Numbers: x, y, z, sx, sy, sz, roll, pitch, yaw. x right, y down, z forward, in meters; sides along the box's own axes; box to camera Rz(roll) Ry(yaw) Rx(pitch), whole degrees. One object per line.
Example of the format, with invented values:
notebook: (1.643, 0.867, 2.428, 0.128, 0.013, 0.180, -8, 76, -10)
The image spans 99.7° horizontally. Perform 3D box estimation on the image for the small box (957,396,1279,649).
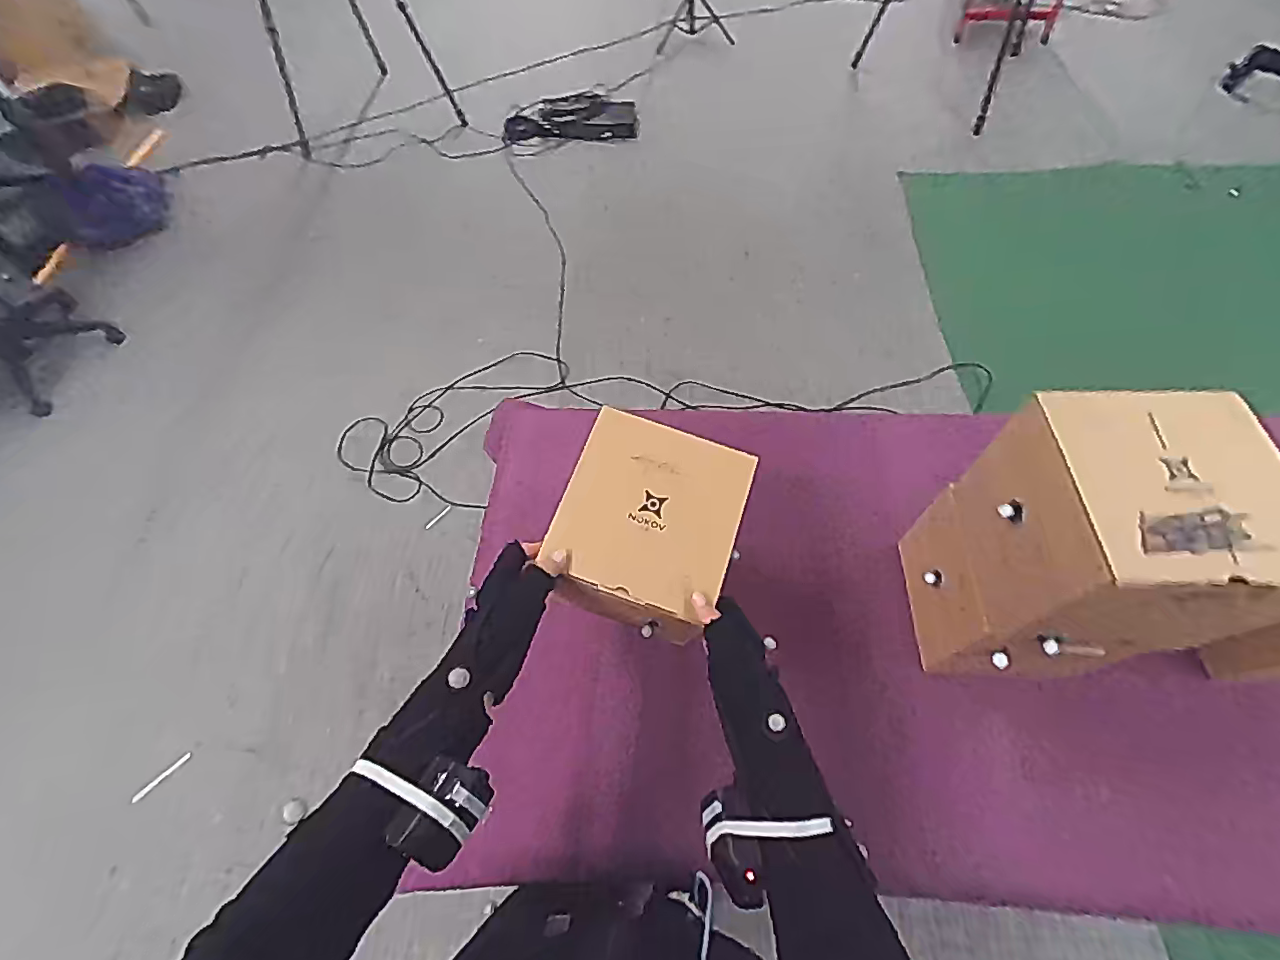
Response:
small box: (0.420, 0.044, 0.484, 0.168, 0.176, 0.179, 1, 58, 4)

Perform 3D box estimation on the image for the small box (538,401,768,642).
small box: (0.013, 0.054, 0.559, 0.168, 0.176, 0.179, 20, 68, 4)

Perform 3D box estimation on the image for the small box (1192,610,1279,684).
small box: (0.750, 0.122, 0.609, 0.168, 0.176, 0.179, -2, 60, 3)
